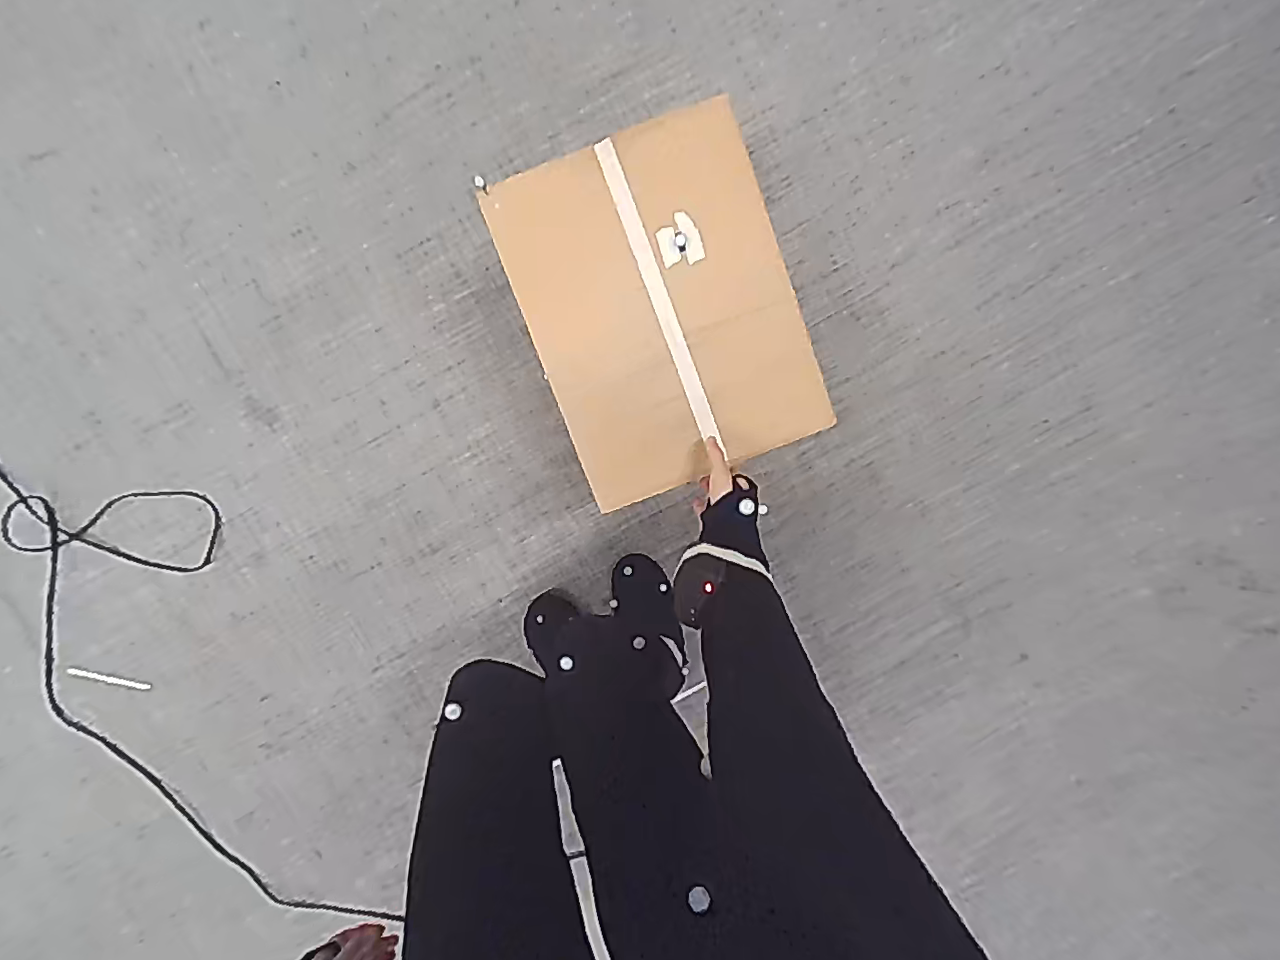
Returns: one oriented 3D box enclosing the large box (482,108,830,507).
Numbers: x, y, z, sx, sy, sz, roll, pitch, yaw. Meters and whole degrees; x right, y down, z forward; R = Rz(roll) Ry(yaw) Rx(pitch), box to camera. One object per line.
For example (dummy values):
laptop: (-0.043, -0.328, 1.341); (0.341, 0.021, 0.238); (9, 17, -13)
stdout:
large box: (0.024, -0.216, 0.805); (0.320, 0.320, 0.408); (-21, 96, 0)
